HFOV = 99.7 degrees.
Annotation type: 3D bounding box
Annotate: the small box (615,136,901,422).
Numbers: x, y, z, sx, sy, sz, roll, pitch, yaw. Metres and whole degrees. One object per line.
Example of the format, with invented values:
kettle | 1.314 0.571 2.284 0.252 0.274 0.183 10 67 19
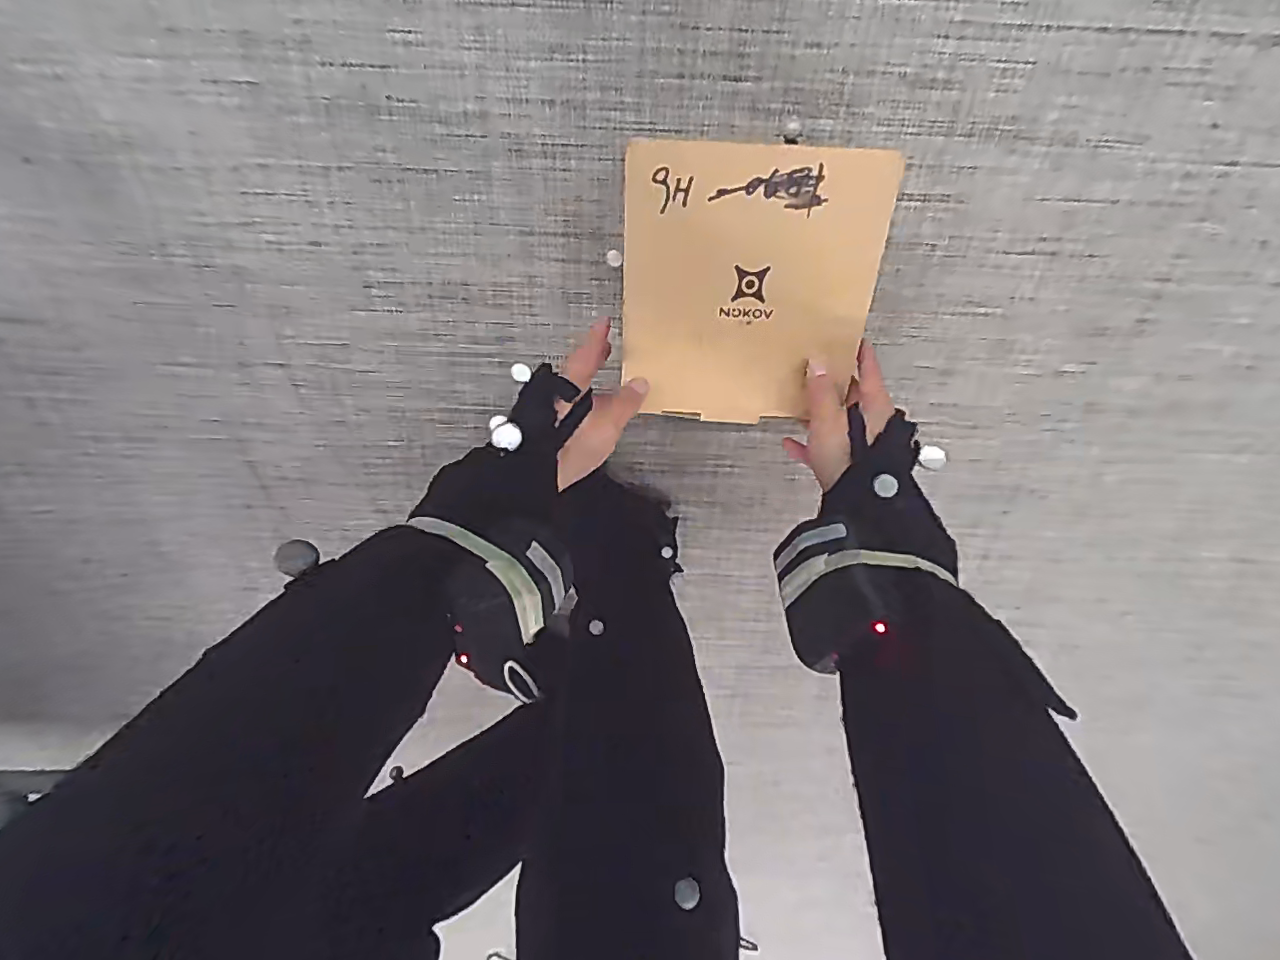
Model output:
small box | 0.068 -0.162 0.423 0.168 0.176 0.179 1 122 -1
